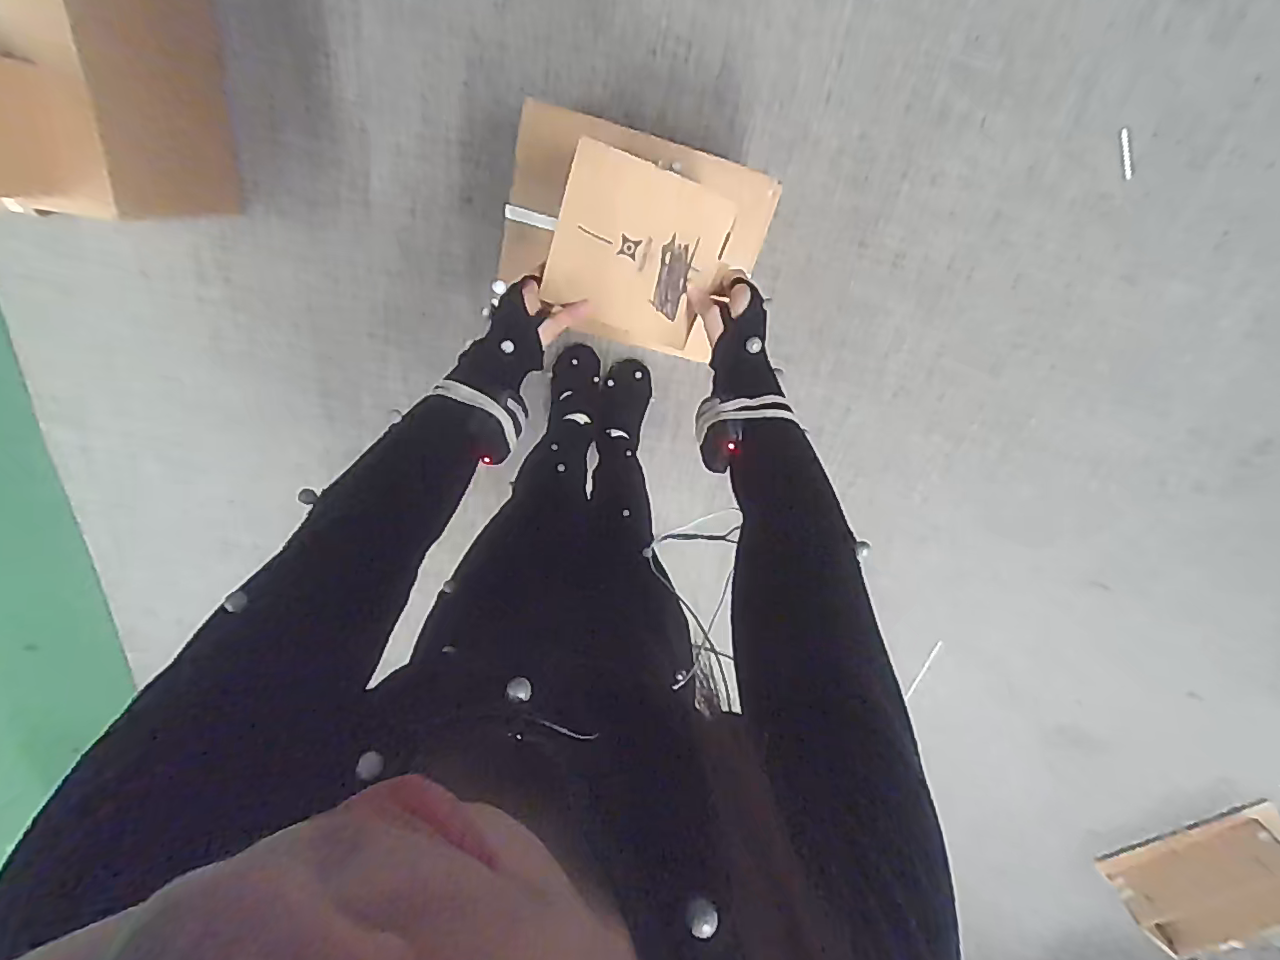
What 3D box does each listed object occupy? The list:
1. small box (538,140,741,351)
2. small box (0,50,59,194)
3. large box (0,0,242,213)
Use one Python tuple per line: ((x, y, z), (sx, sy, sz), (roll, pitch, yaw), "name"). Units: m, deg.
((-0.004, -0.278, 0.645), (0.179, 0.176, 0.168), (18, 116, -9), "small box")
((-0.928, -0.484, 0.703), (0.168, 0.176, 0.179), (11, 116, -8), "small box")
((-0.931, -0.676, 0.879), (0.320, 0.320, 0.408), (8, 117, -5), "large box")
